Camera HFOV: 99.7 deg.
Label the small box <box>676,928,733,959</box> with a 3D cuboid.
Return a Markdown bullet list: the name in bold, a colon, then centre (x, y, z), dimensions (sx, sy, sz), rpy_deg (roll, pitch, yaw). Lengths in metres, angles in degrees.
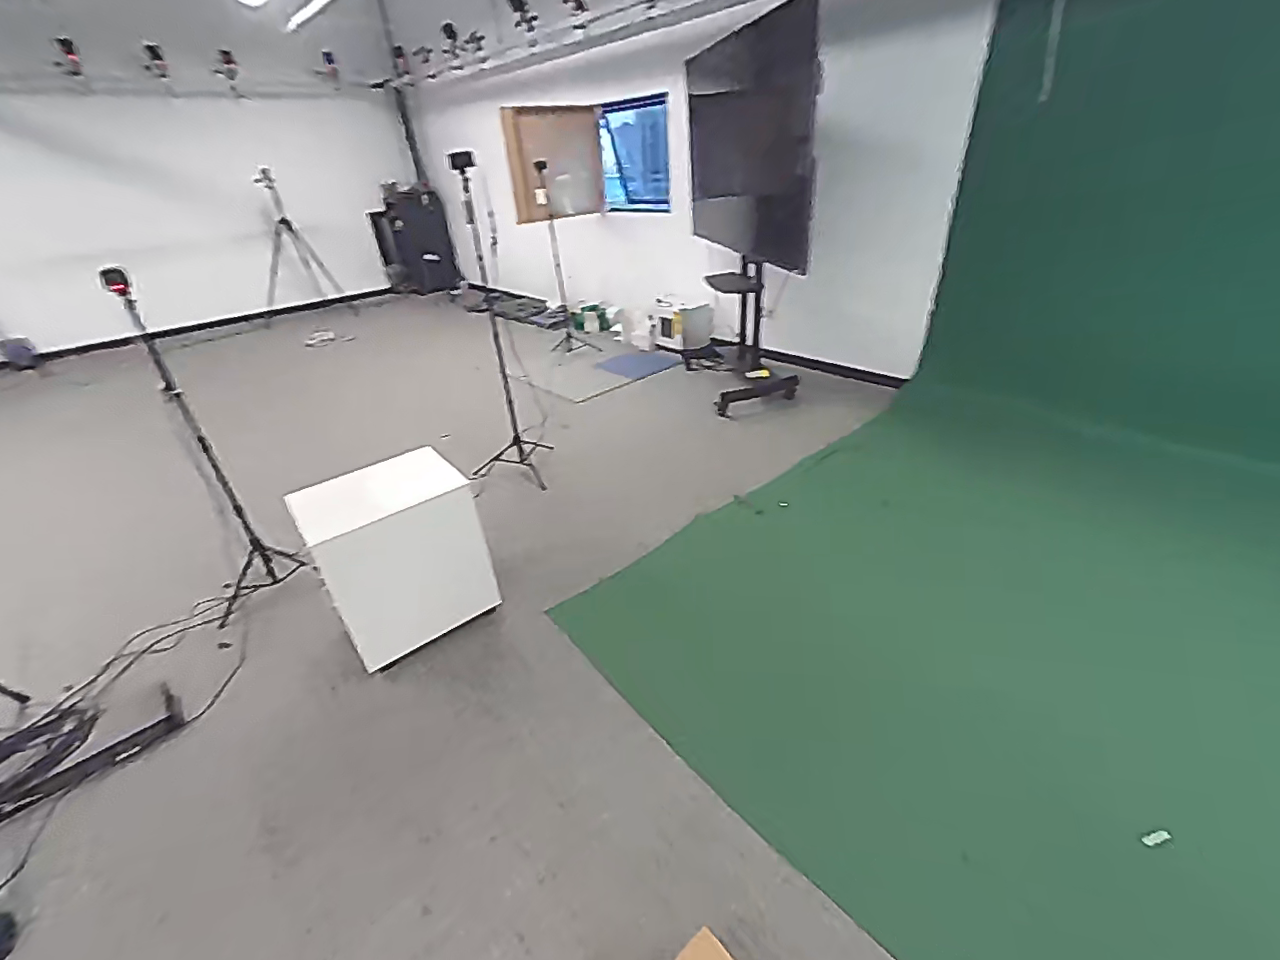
- **small box**: centre (0.135, 1.054, 1.059), dimensions (0.168, 0.176, 0.179), rpy_deg (-27, 38, -32)
